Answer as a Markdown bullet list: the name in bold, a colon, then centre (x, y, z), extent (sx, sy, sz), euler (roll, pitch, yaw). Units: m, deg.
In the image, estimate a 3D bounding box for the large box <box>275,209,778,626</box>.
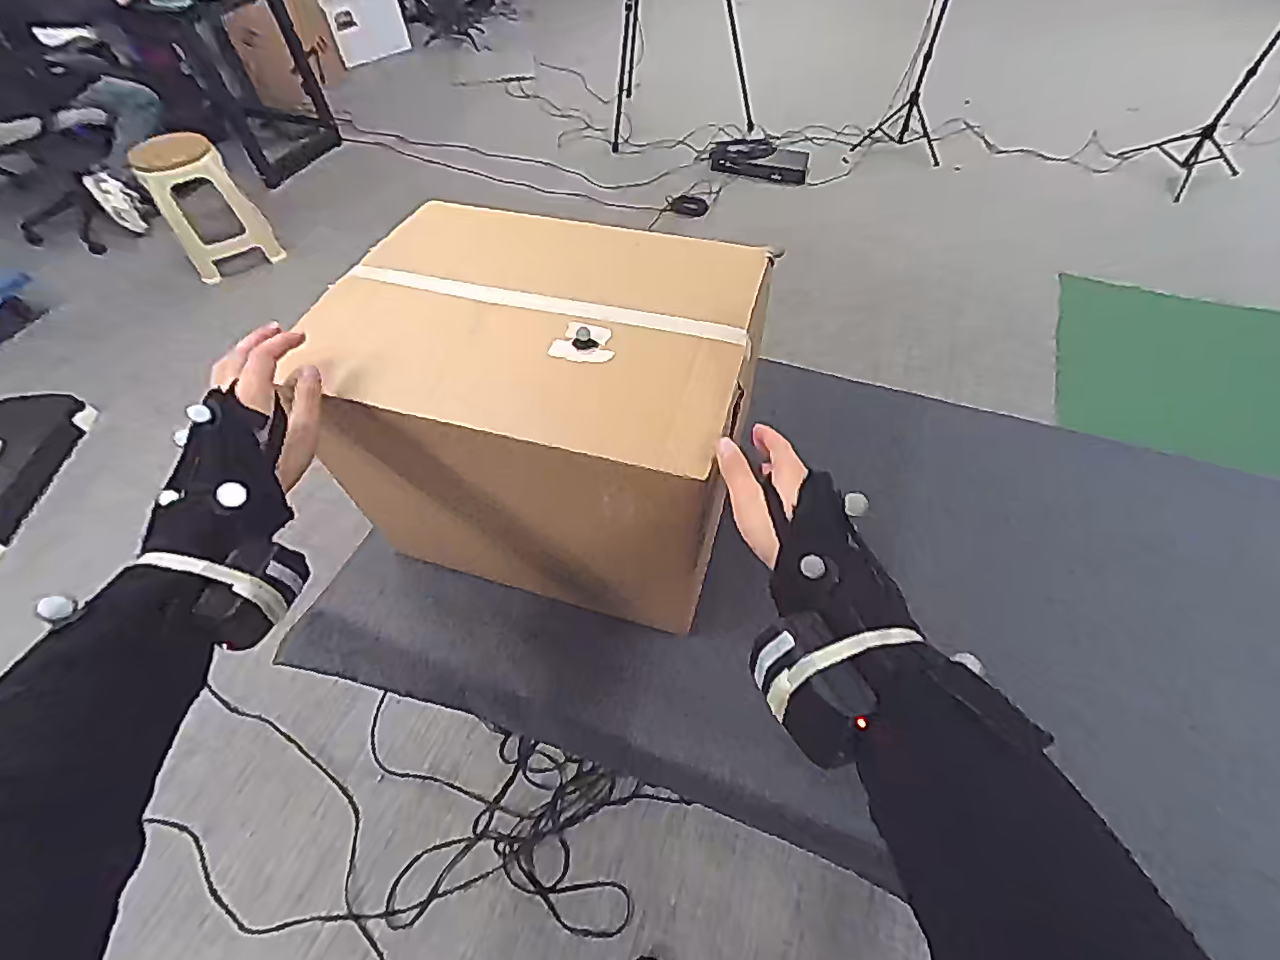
- **large box**: centre (-0.086, -0.071, 0.636), extent (0.408, 0.320, 0.320), euler (14, 55, 10)
